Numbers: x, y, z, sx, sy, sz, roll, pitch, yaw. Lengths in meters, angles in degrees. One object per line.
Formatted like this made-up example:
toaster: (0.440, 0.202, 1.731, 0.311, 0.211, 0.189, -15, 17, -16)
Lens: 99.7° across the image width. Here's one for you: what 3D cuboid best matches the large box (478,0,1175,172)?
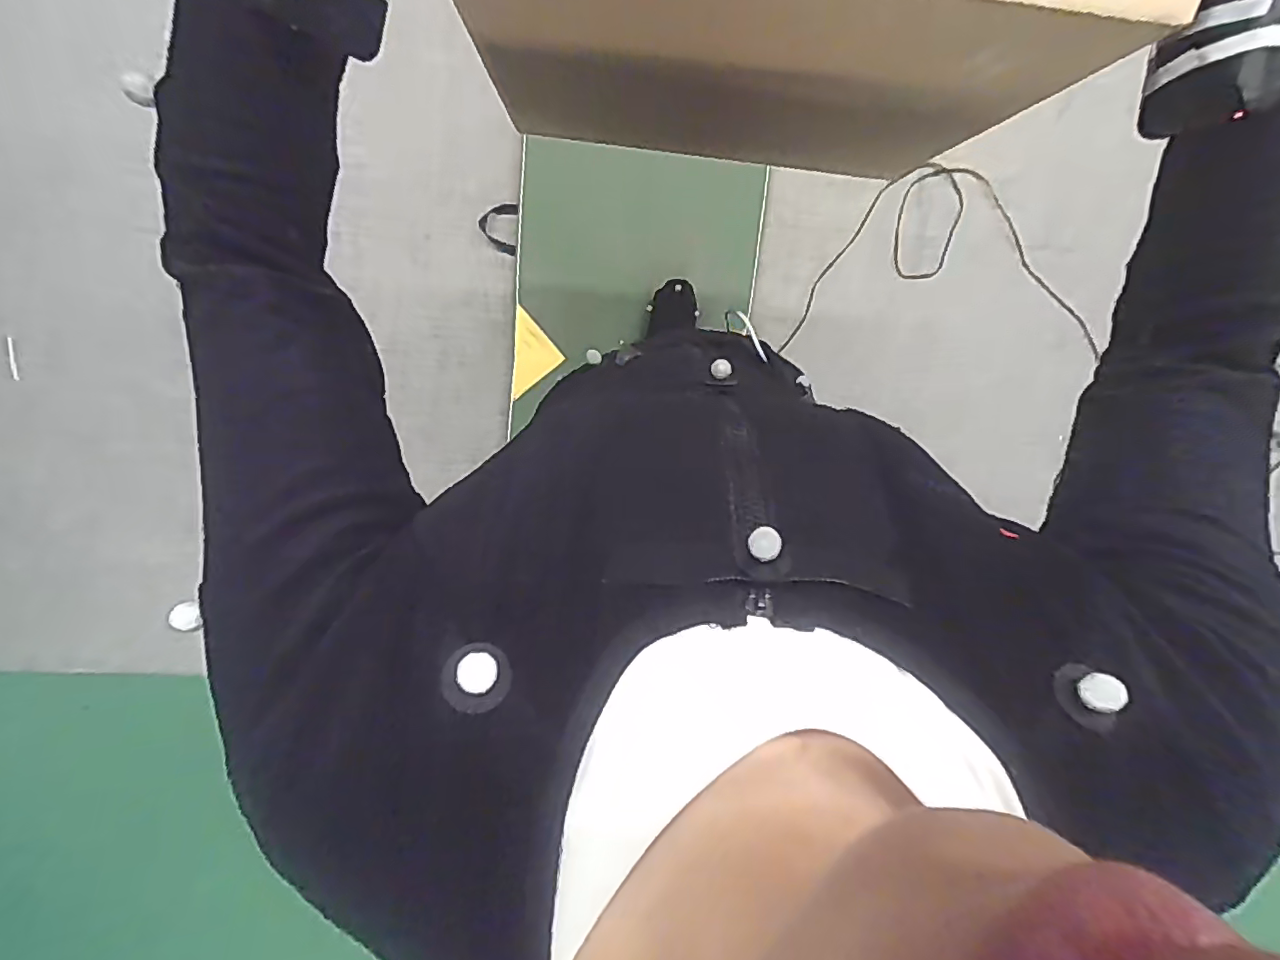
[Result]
large box: (0.097, -0.450, 0.389, 0.408, 0.320, 0.320, 3, 105, -5)
